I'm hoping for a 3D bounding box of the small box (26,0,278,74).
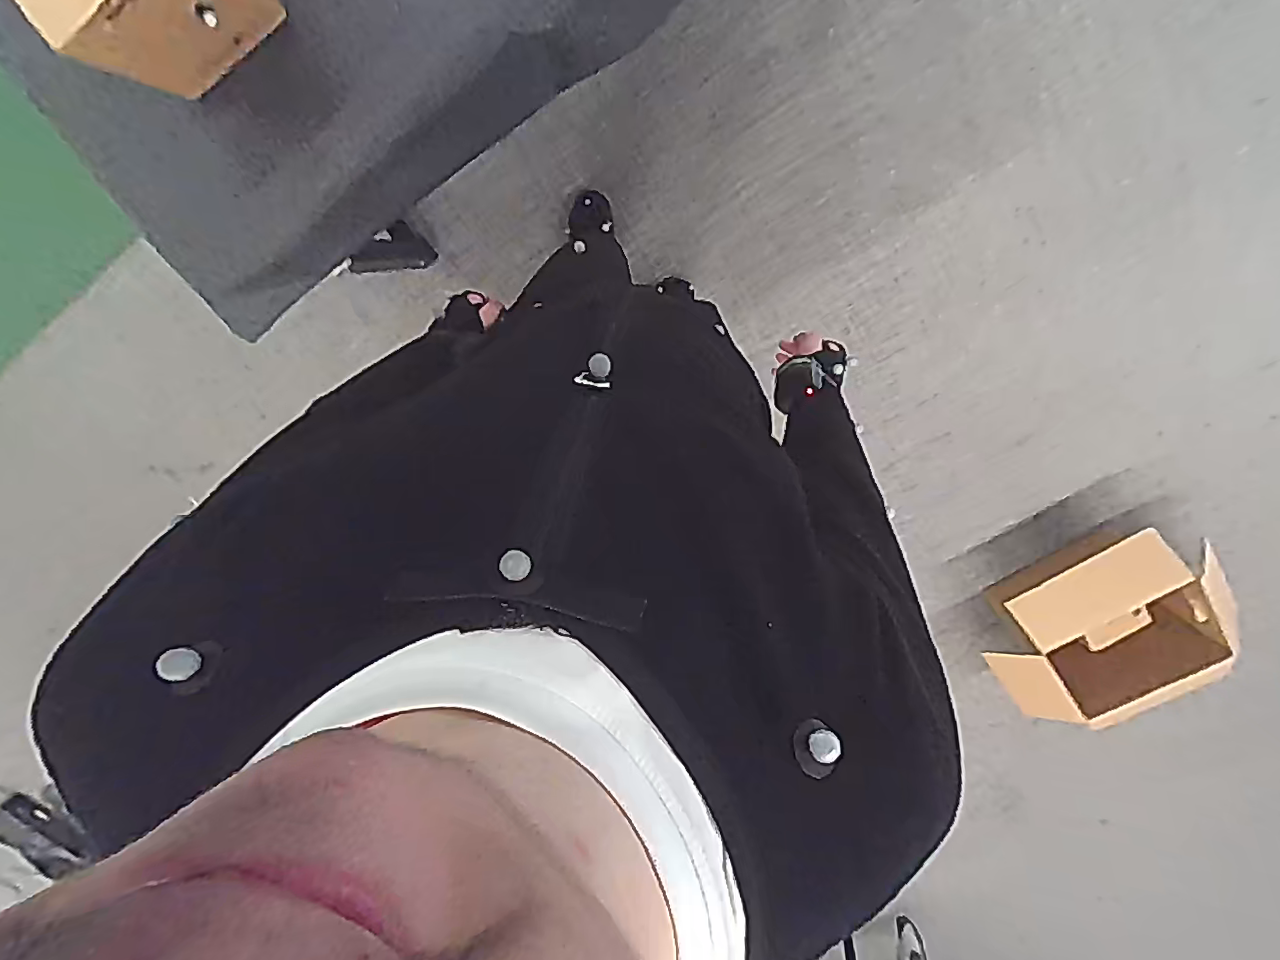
[{"bbox_3d":[-0.524,-0.554,0.544,0.168,0.176,0.179,-28,108,11],"label":"small box"}]
